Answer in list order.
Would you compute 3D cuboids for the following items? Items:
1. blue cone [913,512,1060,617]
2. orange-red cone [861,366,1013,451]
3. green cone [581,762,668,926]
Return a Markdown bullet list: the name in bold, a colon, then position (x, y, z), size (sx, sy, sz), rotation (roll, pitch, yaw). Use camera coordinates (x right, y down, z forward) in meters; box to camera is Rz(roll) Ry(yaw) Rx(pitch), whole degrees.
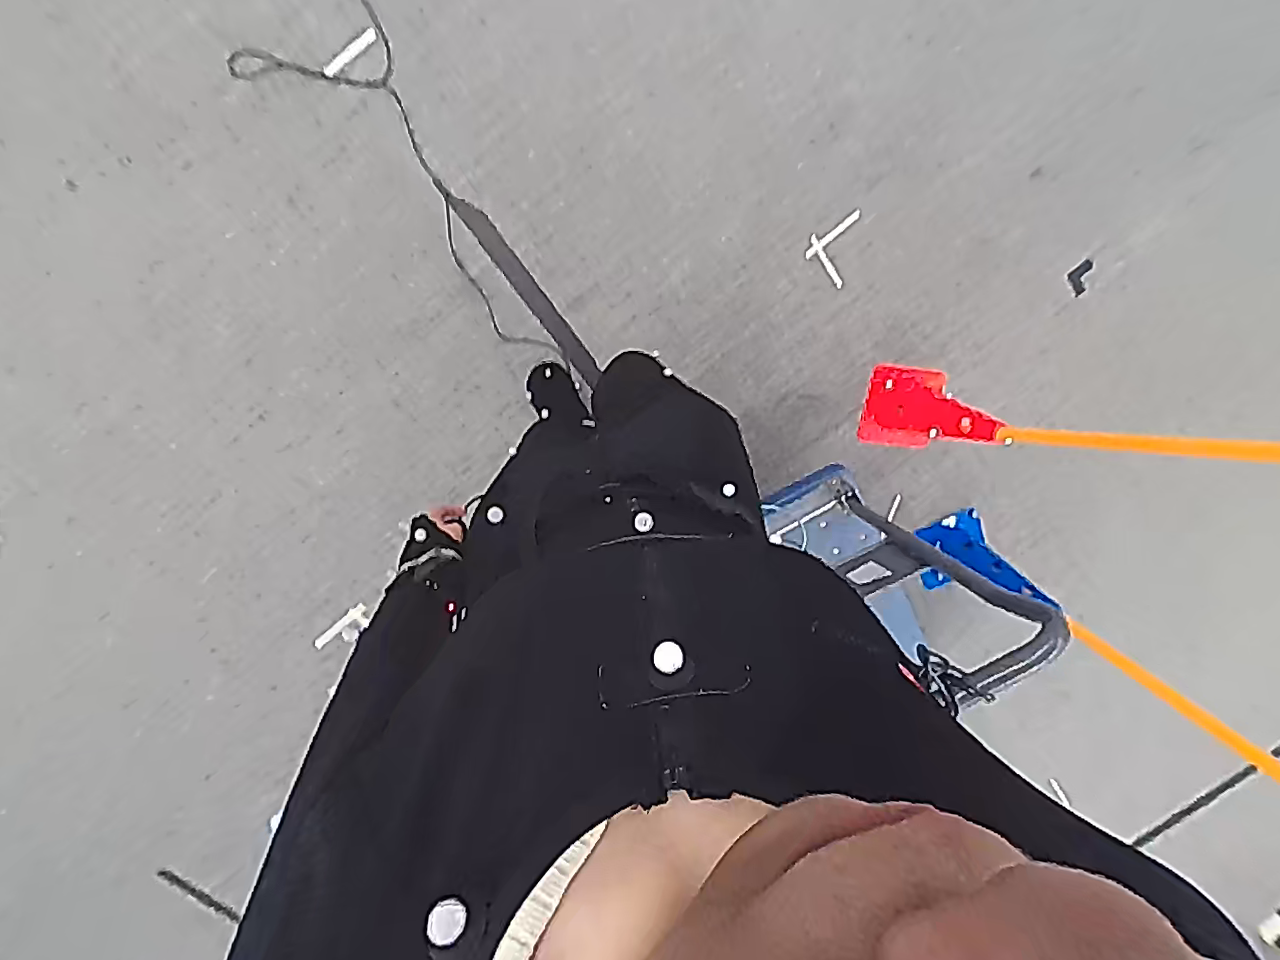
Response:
- **blue cone**: position (0.883, 0.242, 1.351), size (0.193, 0.380, 0.192), rotation (-23, 106, 0)
- **orange-red cone**: position (0.687, -0.130, 1.210), size (0.198, 0.360, 0.199), rotation (7, 106, -7)
- **green cone**: position (-0.029, 0.988, 1.443), size (0.202, 0.368, 0.200), rotation (38, 98, -13)
